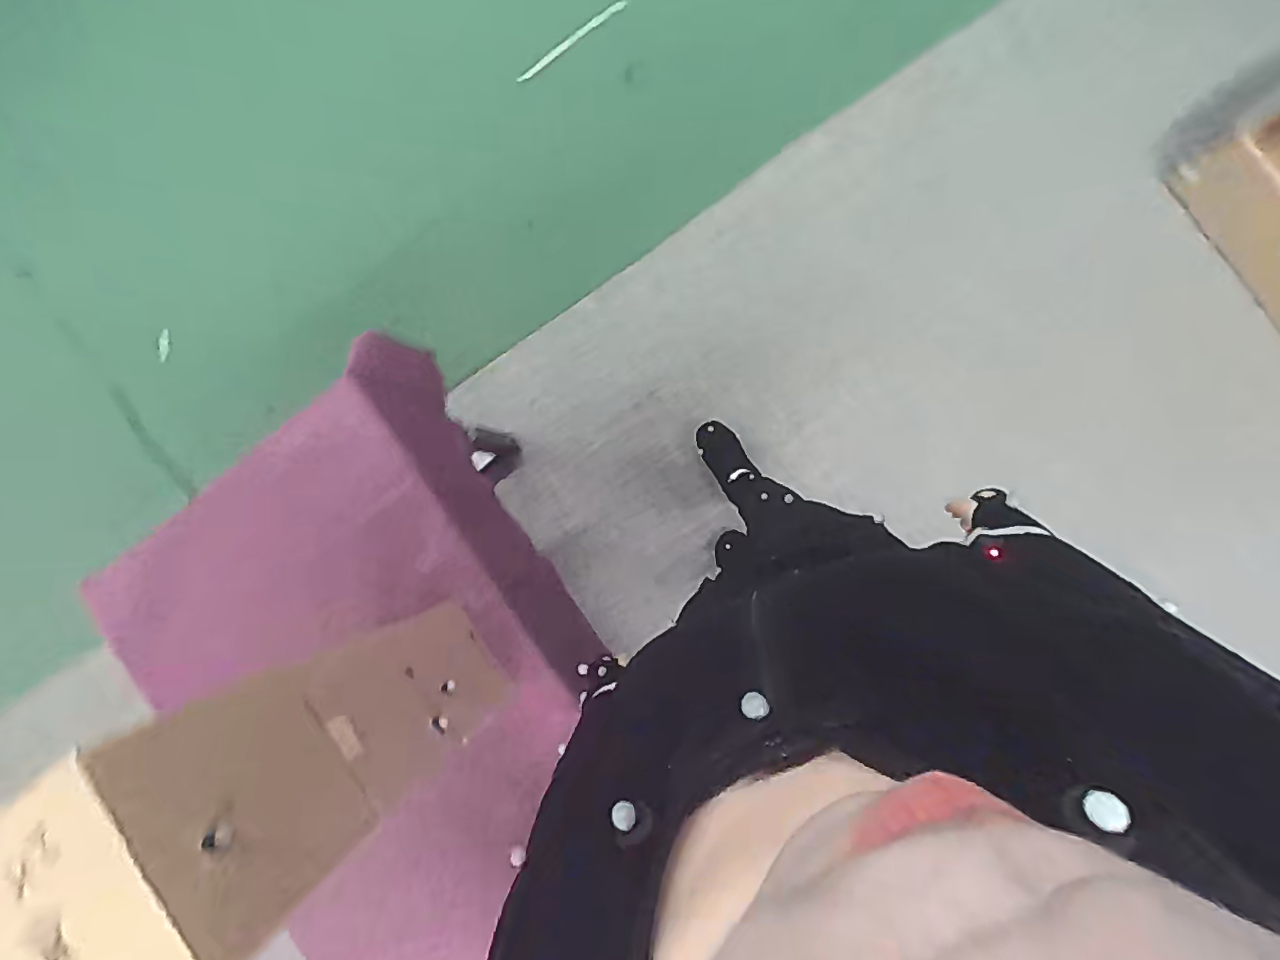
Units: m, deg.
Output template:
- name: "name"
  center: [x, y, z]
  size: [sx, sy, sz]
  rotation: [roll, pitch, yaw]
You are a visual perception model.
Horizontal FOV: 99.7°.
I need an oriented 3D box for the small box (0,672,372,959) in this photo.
- name: "small box"
  center: [-0.356, 0.286, 0.425]
  size: [0.168, 0.176, 0.179]
  rotation: [-37, 85, 5]
